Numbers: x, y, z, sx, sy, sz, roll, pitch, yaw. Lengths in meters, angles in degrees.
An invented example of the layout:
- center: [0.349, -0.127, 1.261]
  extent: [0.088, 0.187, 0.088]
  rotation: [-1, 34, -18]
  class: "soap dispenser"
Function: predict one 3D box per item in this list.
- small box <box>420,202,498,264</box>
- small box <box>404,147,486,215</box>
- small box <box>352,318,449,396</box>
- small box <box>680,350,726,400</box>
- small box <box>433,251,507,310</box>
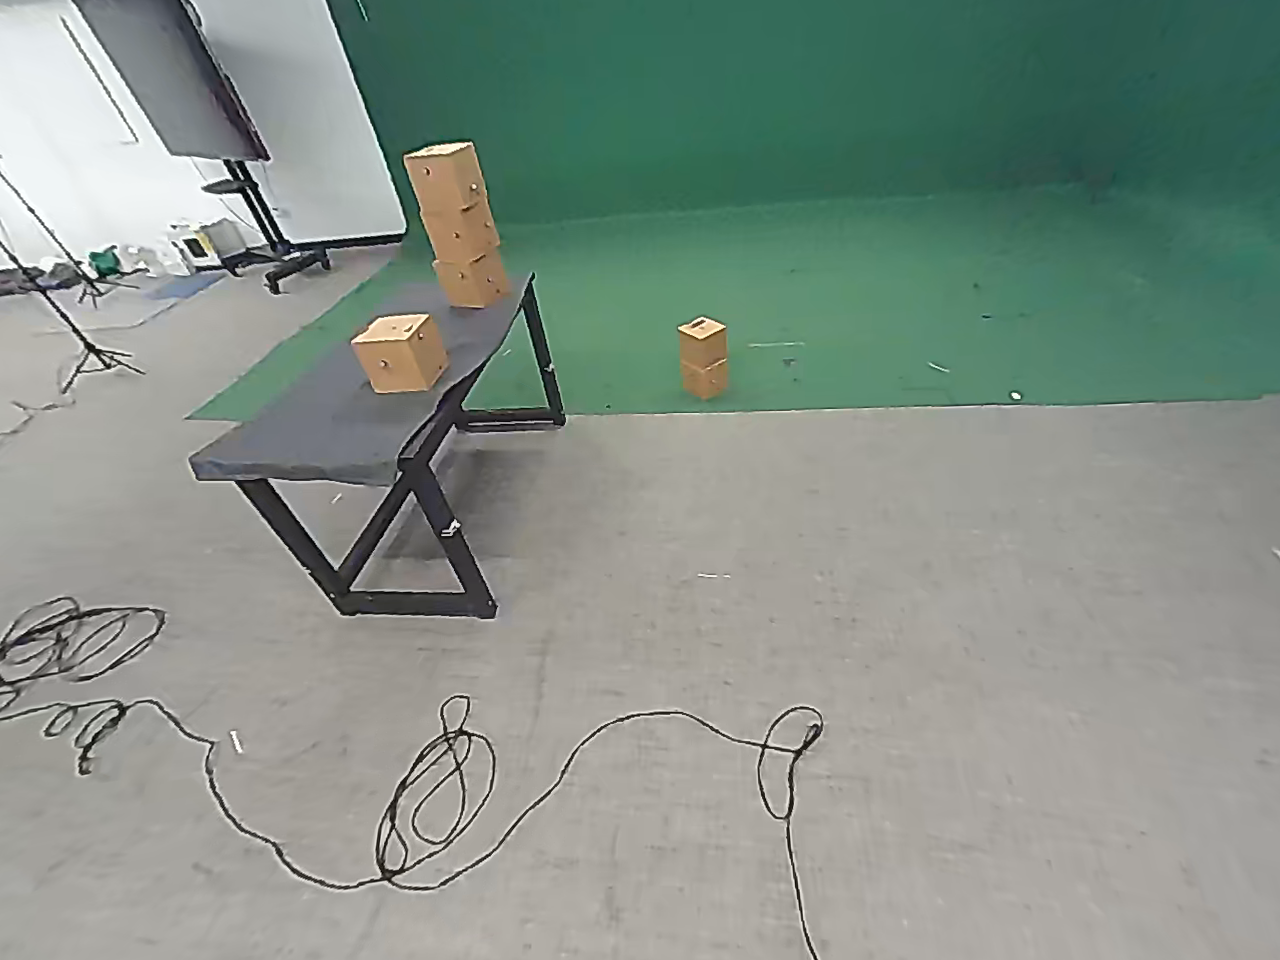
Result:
- center: [-0.641, -0.885, 1.940]
  extent: [0.179, 0.176, 0.168]
  rotation: [8, 43, 22]
  class: "small box"
- center: [-0.656, -1.013, 1.838]
  extent: [0.179, 0.176, 0.168]
  rotation: [5, 43, 17]
  class: "small box"
- center: [-0.703, -0.361, 1.607]
  extent: [0.179, 0.176, 0.168]
  rotation: [-2, 41, 10]
  class: "small box"
- center: [0.322, -0.526, 2.728]
  extent: [0.168, 0.176, 0.179]
  rotation: [-31, 45, -23]
  class: "small box"
- center: [-0.632, -0.752, 2.034]
  extent: [0.179, 0.176, 0.168]
  rotation: [12, 45, 26]
  class: "small box"
